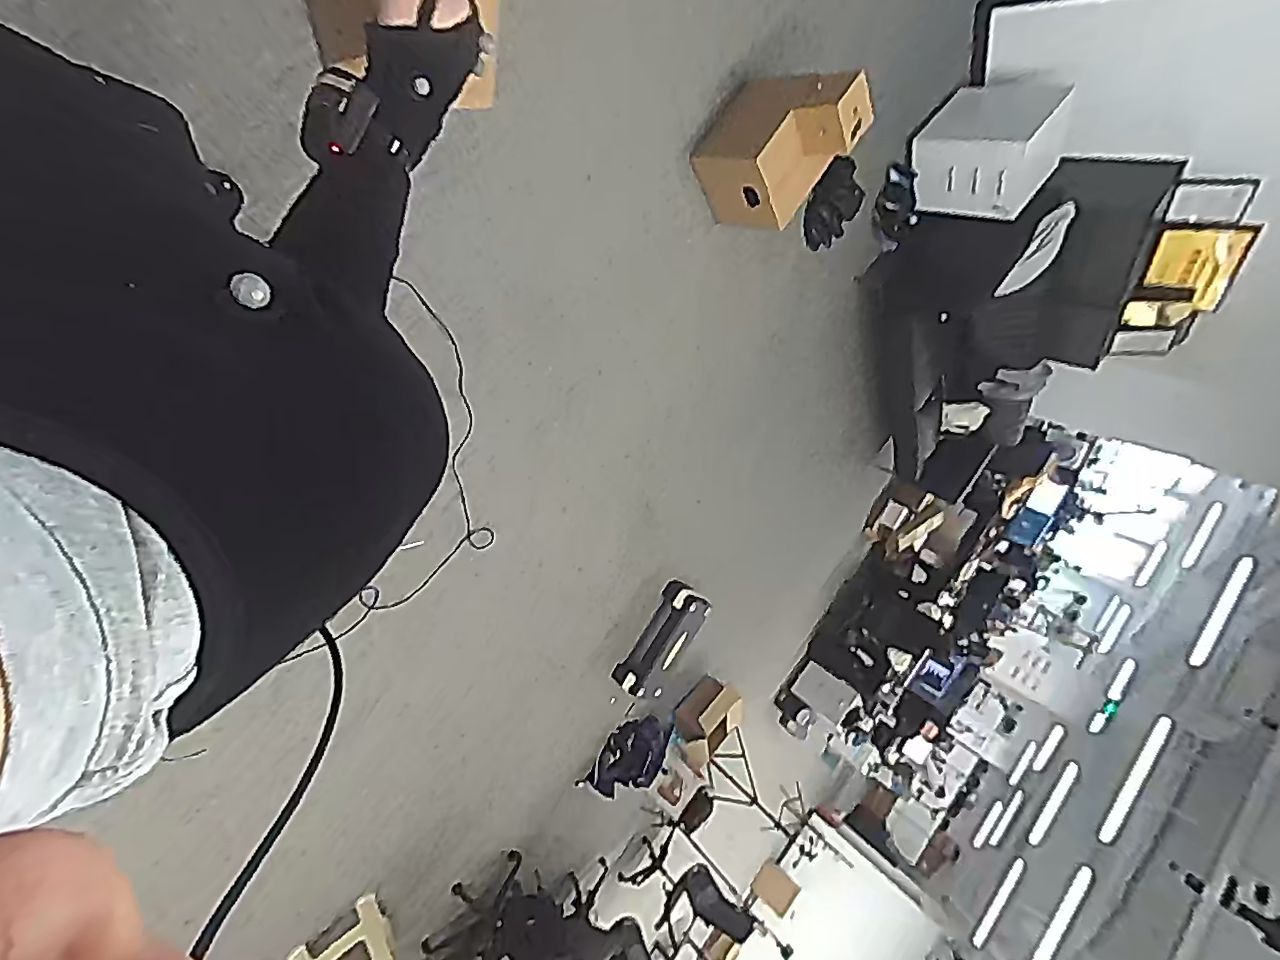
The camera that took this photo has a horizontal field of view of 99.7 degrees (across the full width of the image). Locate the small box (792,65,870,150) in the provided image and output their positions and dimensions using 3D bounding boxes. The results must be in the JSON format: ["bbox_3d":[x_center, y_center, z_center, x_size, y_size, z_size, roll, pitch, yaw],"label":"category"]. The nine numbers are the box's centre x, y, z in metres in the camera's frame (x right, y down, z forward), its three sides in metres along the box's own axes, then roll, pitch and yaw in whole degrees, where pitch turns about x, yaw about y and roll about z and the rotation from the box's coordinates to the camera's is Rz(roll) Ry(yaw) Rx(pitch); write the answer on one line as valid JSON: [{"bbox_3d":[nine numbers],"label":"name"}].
[{"bbox_3d":[0.643,-1.249,1.820,0.168,0.176,0.179,-54,138,-7],"label":"small box"}]
